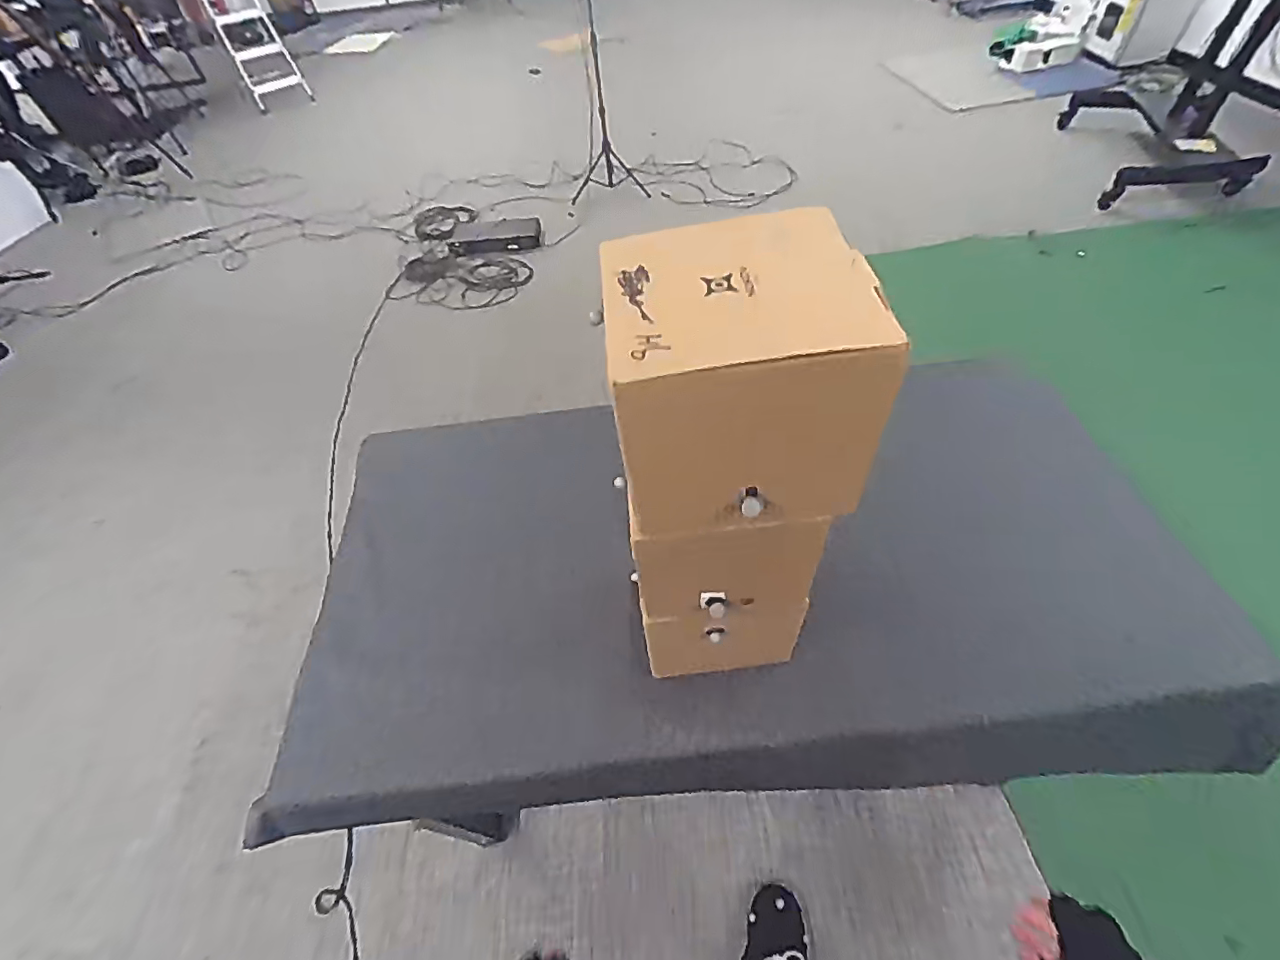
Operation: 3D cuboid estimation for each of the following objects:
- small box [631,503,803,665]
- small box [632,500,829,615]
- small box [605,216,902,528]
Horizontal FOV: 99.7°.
[{"bbox_3d":[0.089,0.121,0.685,0.179,0.176,0.168,-7,51,0],"label":"small box"},{"bbox_3d":[0.077,0.019,0.561,0.168,0.176,0.179,-7,52,2],"label":"small box"},{"bbox_3d":[0.070,-0.079,0.429,0.179,0.176,0.168,-7,51,1],"label":"small box"}]
